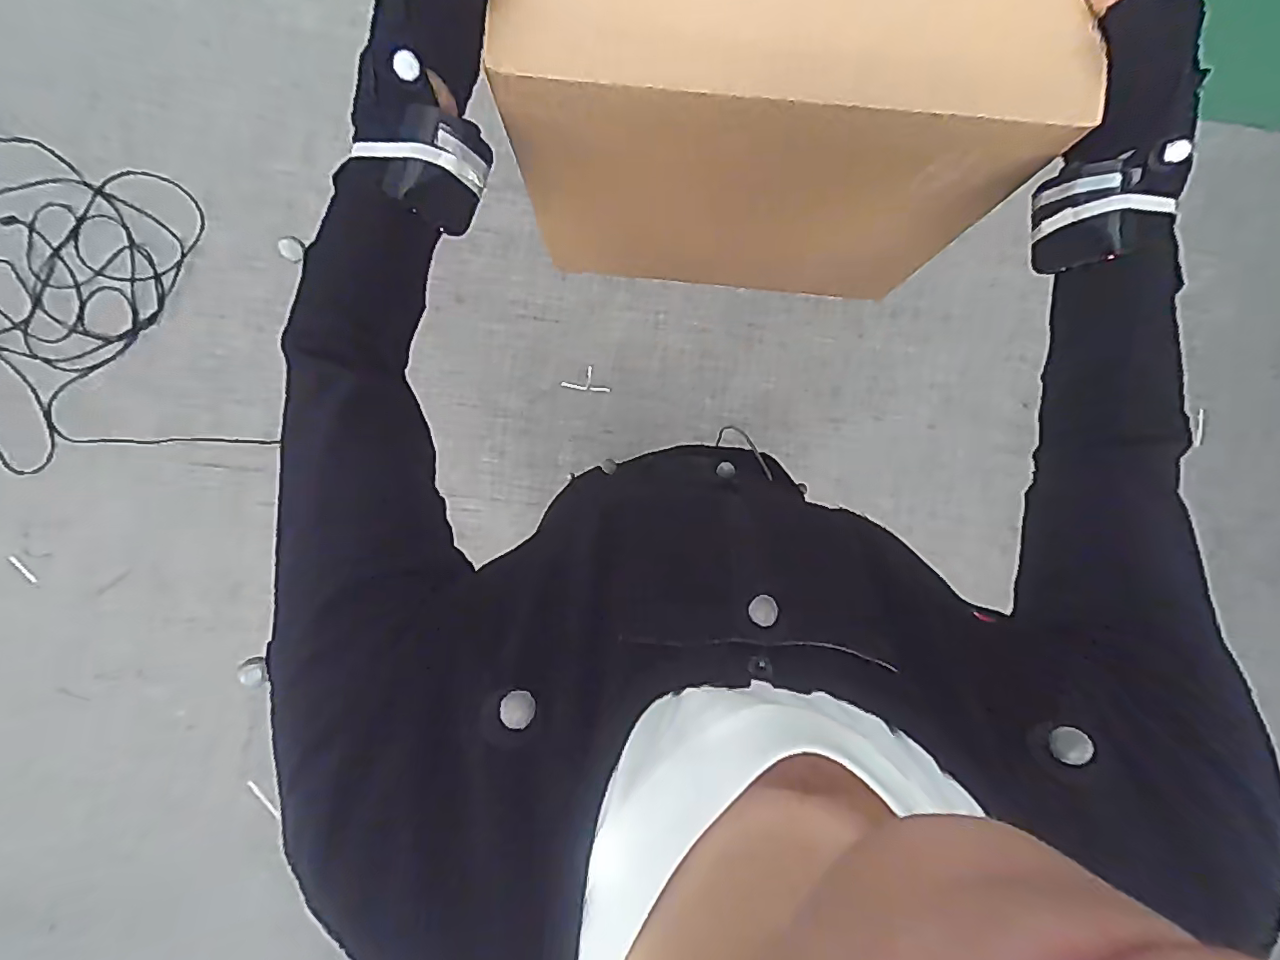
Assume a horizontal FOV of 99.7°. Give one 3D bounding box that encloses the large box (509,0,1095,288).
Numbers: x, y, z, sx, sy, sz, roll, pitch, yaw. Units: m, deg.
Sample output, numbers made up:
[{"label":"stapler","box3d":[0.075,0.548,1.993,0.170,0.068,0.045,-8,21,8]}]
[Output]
[{"label":"large box","box3d":[0.113,-0.402,0.518,0.408,0.320,0.320,5,89,-1]}]
